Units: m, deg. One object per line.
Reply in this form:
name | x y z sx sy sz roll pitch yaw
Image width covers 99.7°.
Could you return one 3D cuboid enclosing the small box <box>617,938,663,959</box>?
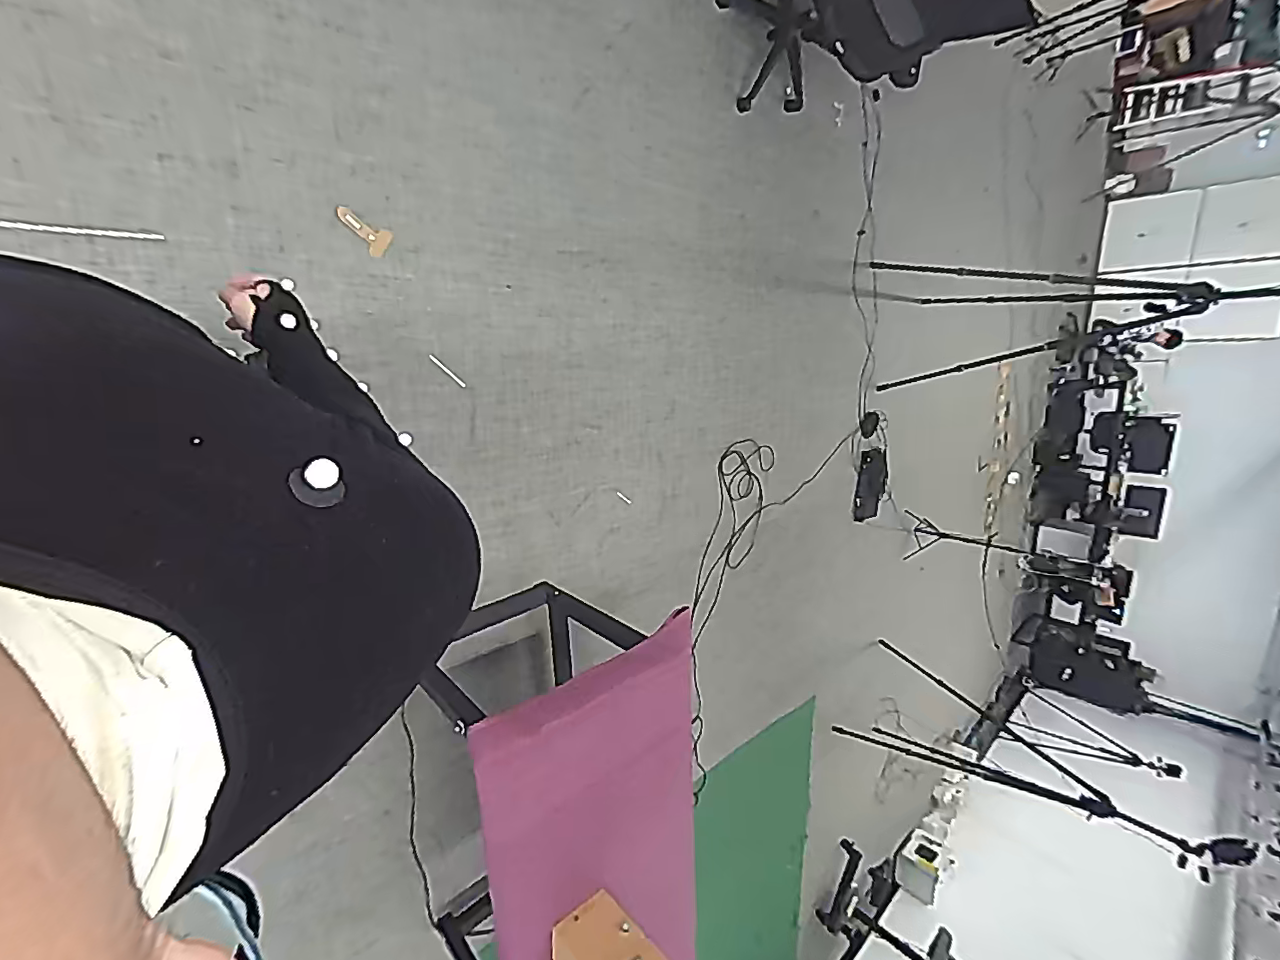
small box | 0.003 1.204 1.212 0.168 0.176 0.179 -8 104 -42
